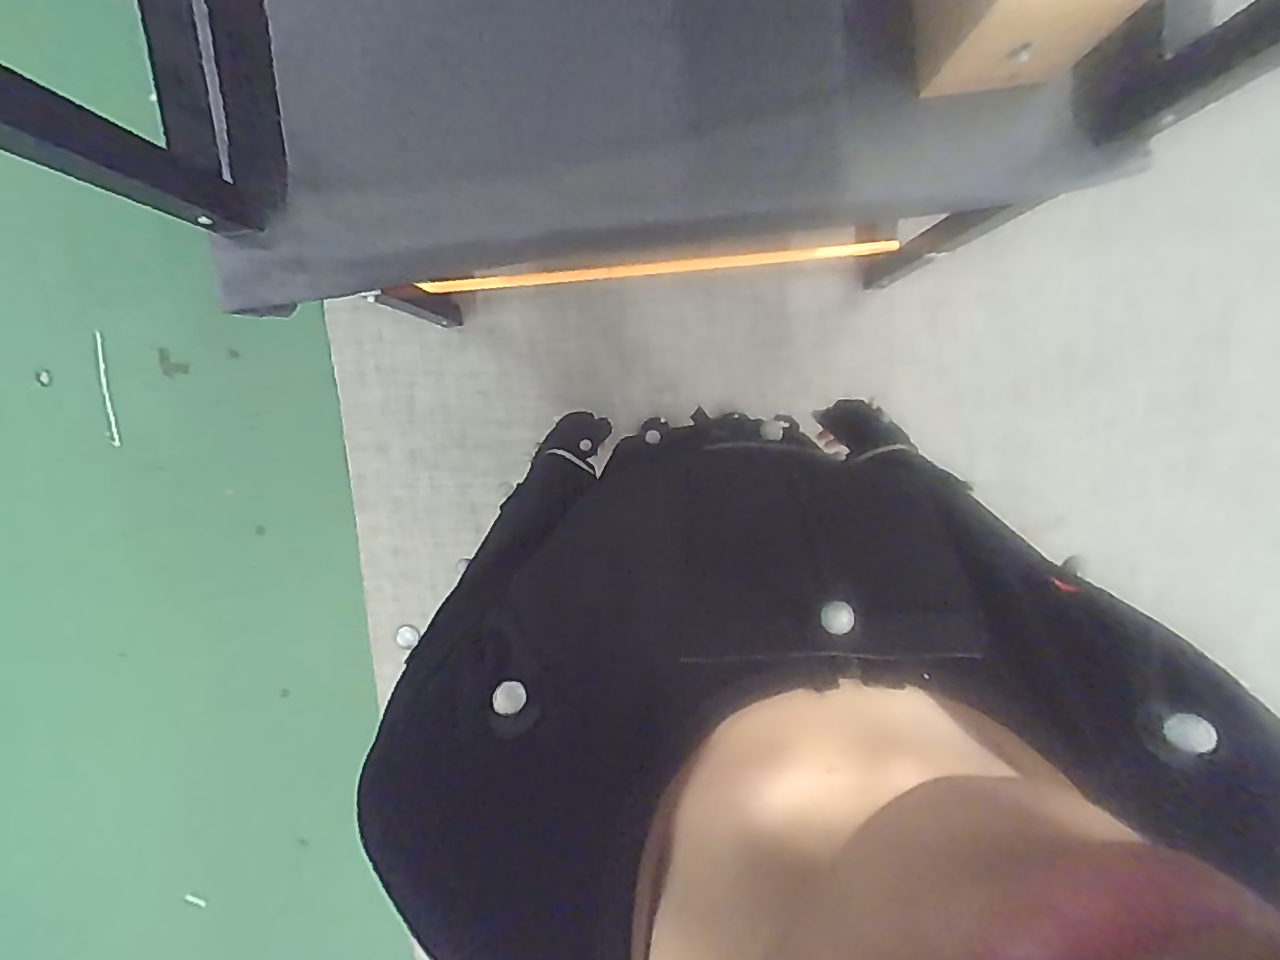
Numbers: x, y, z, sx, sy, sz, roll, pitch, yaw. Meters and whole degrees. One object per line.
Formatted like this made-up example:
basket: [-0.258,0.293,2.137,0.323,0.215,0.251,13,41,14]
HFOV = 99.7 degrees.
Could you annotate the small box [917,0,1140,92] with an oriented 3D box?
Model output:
small box: [0.419,-0.555,0.583,0.168,0.176,0.179,-6,96,3]
